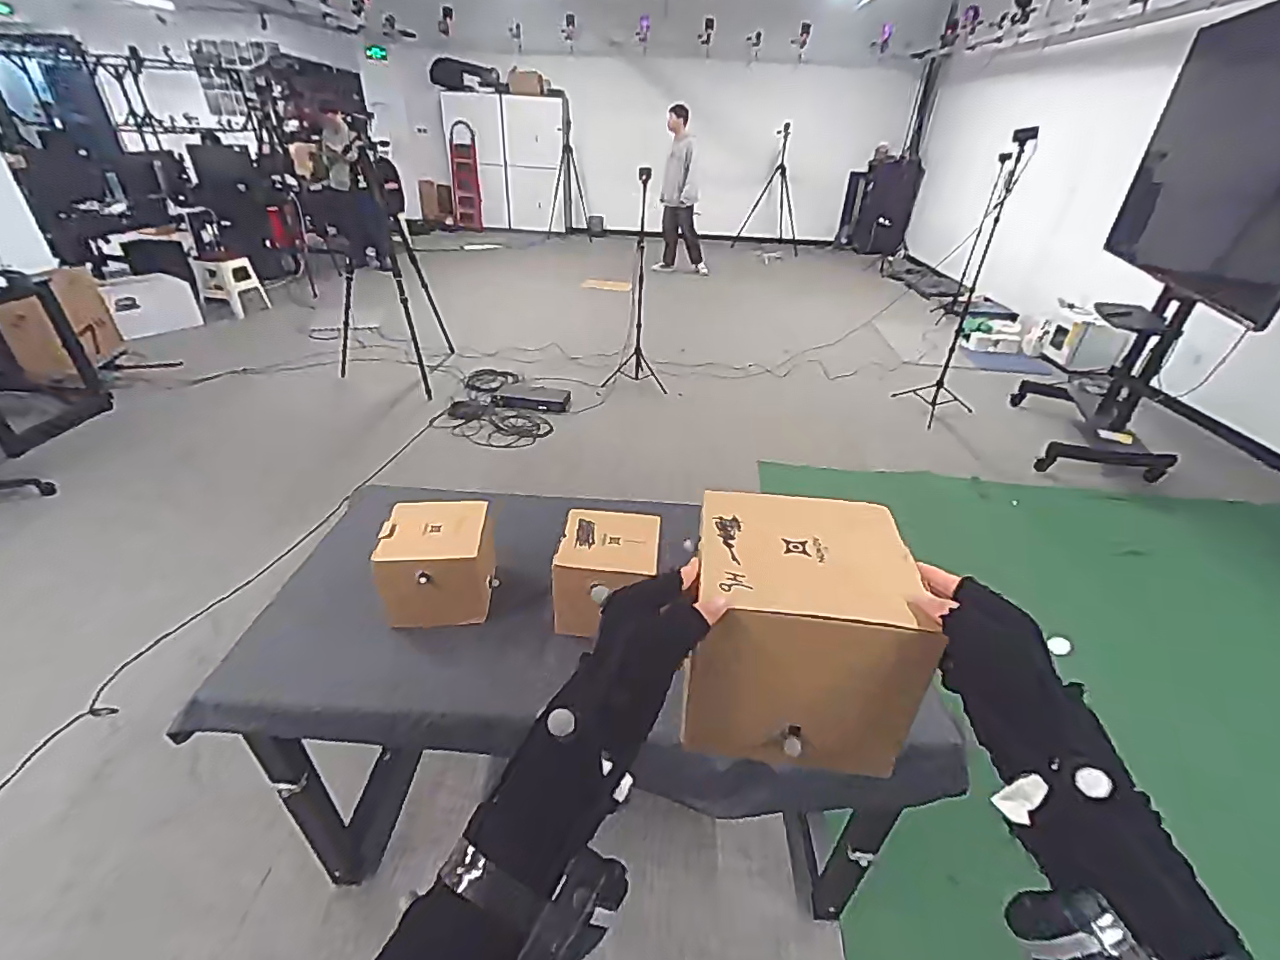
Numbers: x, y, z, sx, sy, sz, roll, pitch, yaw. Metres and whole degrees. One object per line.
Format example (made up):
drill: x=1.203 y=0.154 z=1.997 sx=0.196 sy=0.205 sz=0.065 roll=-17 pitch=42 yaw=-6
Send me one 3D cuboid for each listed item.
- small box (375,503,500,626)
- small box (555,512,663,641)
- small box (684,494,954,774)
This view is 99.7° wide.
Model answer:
small box: x=-0.369 y=0.160 z=1.019 sx=0.179 sy=0.176 sz=0.168 roll=-1 pitch=34 yaw=-7
small box: x=-0.053 y=0.179 z=1.010 sx=0.179 sy=0.176 sz=0.168 roll=5 pitch=33 yaw=2
small box: x=0.139 y=0.133 z=0.488 sx=0.179 sy=0.176 sz=0.168 roll=6 pitch=28 yaw=5
